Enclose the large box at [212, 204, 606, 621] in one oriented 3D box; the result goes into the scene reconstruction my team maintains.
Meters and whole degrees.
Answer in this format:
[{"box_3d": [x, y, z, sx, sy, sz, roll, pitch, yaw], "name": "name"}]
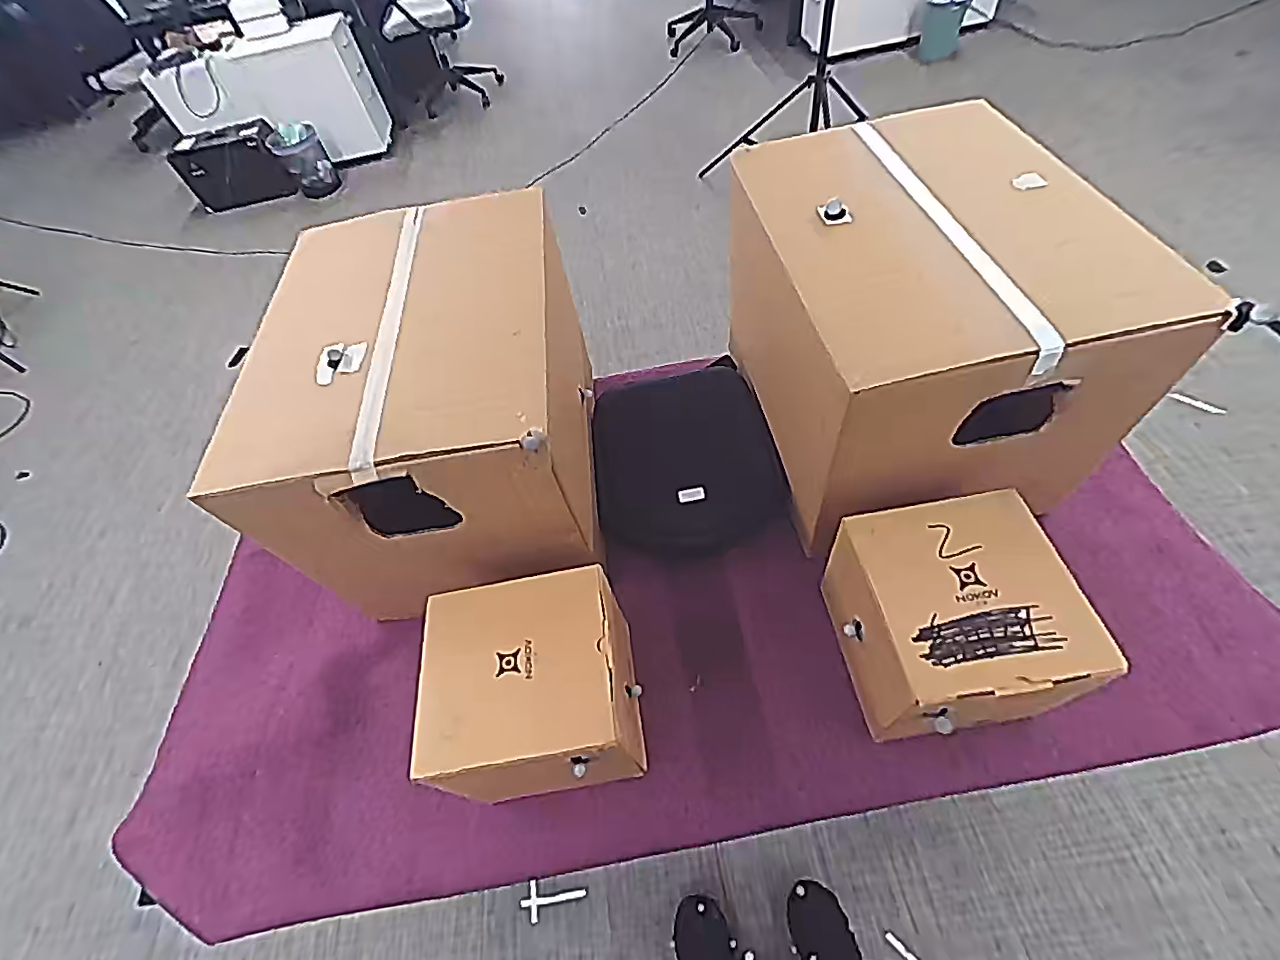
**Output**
[{"box_3d": [-0.234, -0.078, 0.696, 0.320, 0.320, 0.408, -10, 57, 3], "name": "large box"}]
